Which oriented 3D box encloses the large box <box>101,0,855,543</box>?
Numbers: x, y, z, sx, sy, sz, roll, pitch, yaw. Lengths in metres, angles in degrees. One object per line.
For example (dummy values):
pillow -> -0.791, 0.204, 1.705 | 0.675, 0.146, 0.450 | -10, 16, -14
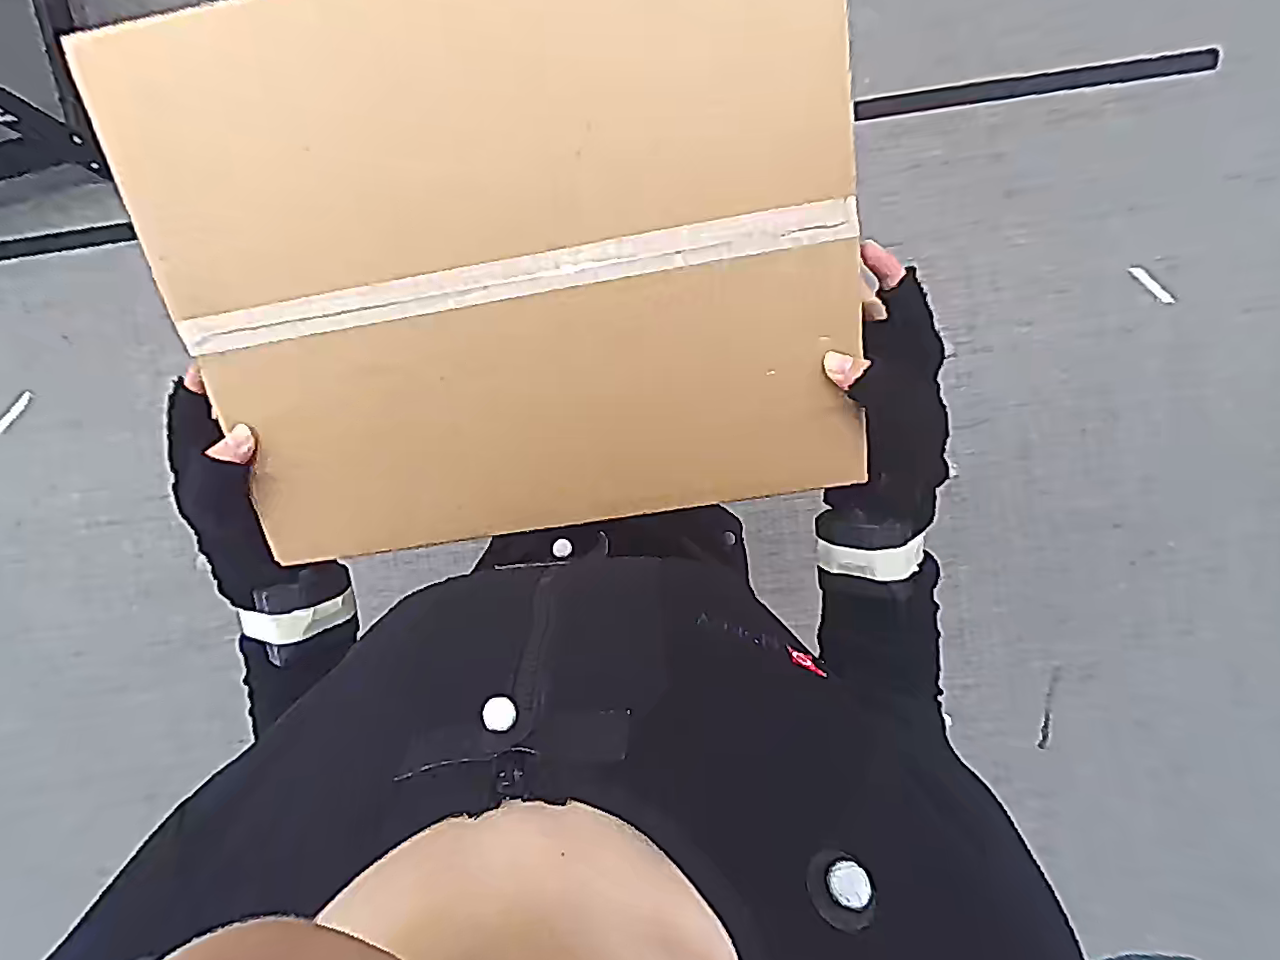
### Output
large box -> -0.077, -0.174, 0.467 | 0.408, 0.320, 0.320 | -9, 109, 4
